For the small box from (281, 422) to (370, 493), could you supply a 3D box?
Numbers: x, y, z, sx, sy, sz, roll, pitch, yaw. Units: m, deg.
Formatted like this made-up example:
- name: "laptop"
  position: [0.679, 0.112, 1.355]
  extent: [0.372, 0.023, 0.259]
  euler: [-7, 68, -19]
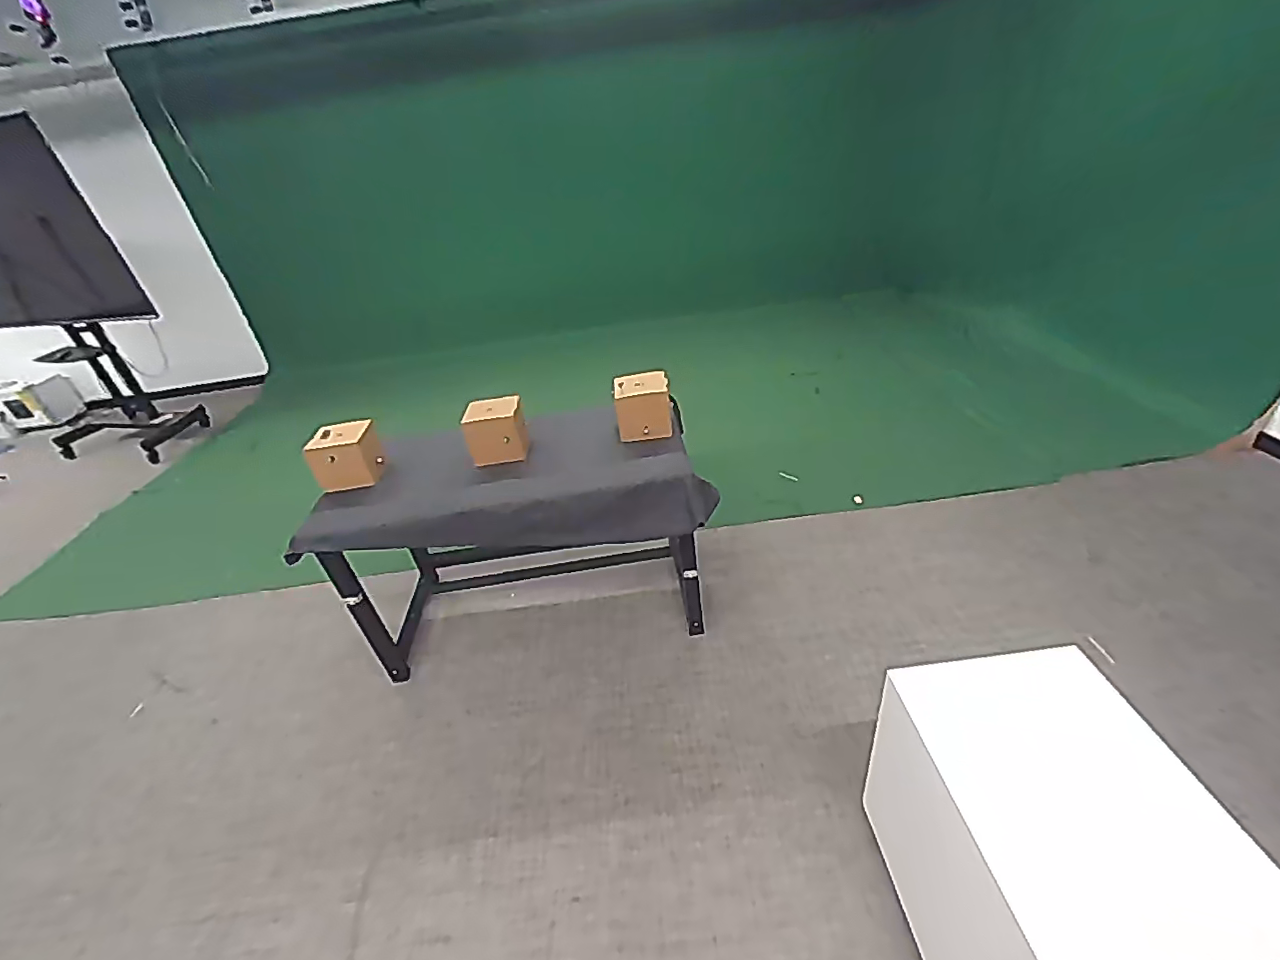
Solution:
- name: "small box"
  position: [-1.015, -0.071, 1.762]
  extent: [0.179, 0.176, 0.168]
  euler: [-8, 32, -5]

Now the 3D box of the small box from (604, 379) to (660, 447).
- name: "small box"
  position: [-0.026, -0.225, 1.826]
  extent: [0.179, 0.176, 0.168]
  euler: [-6, 32, 0]

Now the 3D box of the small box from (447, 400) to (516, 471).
- name: "small box"
  position: [-0.519, -0.149, 1.802]
  extent: [0.179, 0.176, 0.168]
  euler: [-9, 31, -1]
